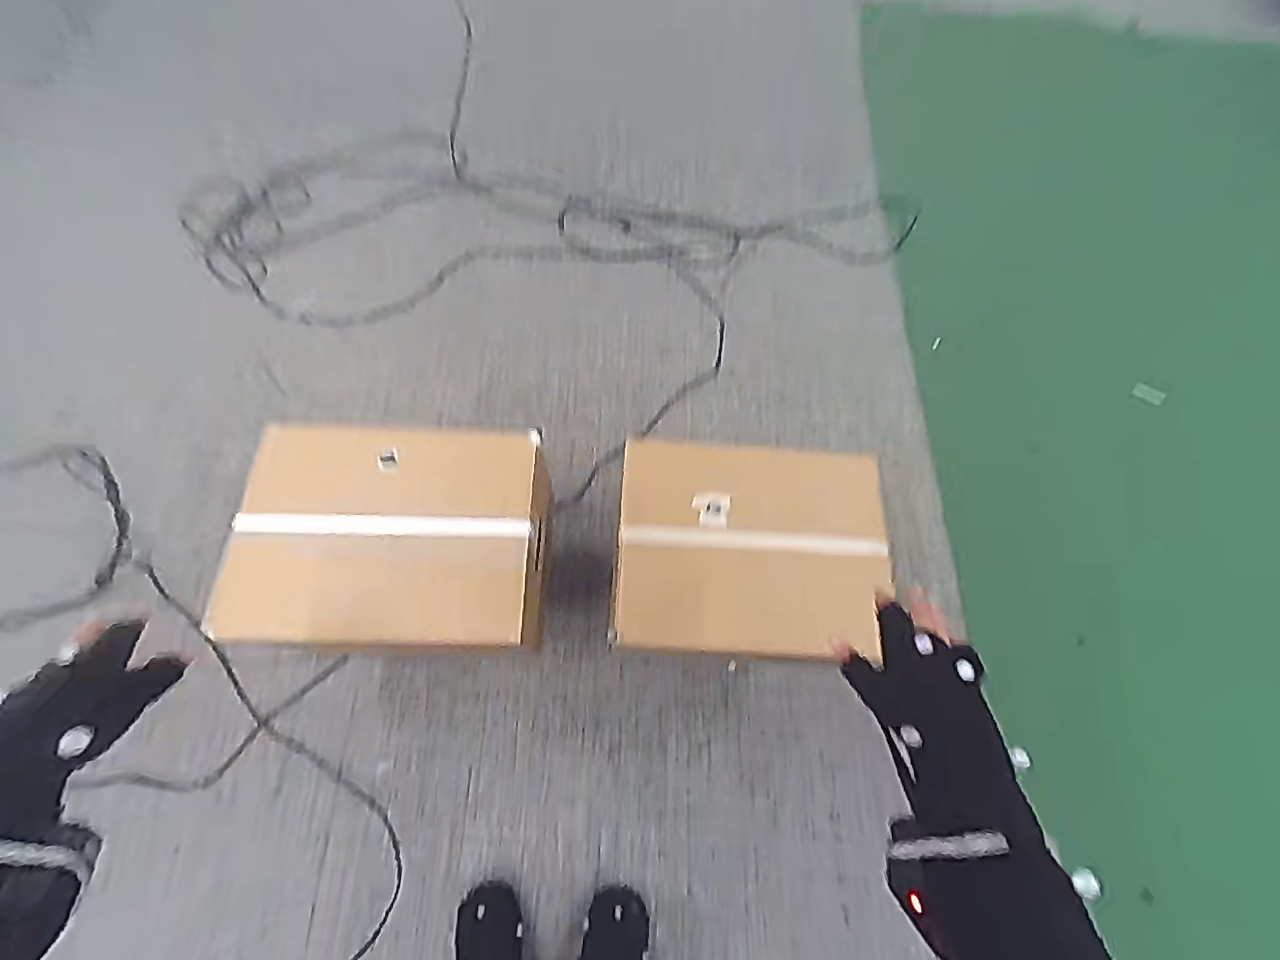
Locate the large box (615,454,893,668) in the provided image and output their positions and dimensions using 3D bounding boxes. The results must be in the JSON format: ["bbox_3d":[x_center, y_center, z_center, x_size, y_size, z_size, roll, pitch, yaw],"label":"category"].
[{"bbox_3d":[0.168,0.164,0.963,0.408,0.320,0.320,4,68,-2],"label":"large box"}]
